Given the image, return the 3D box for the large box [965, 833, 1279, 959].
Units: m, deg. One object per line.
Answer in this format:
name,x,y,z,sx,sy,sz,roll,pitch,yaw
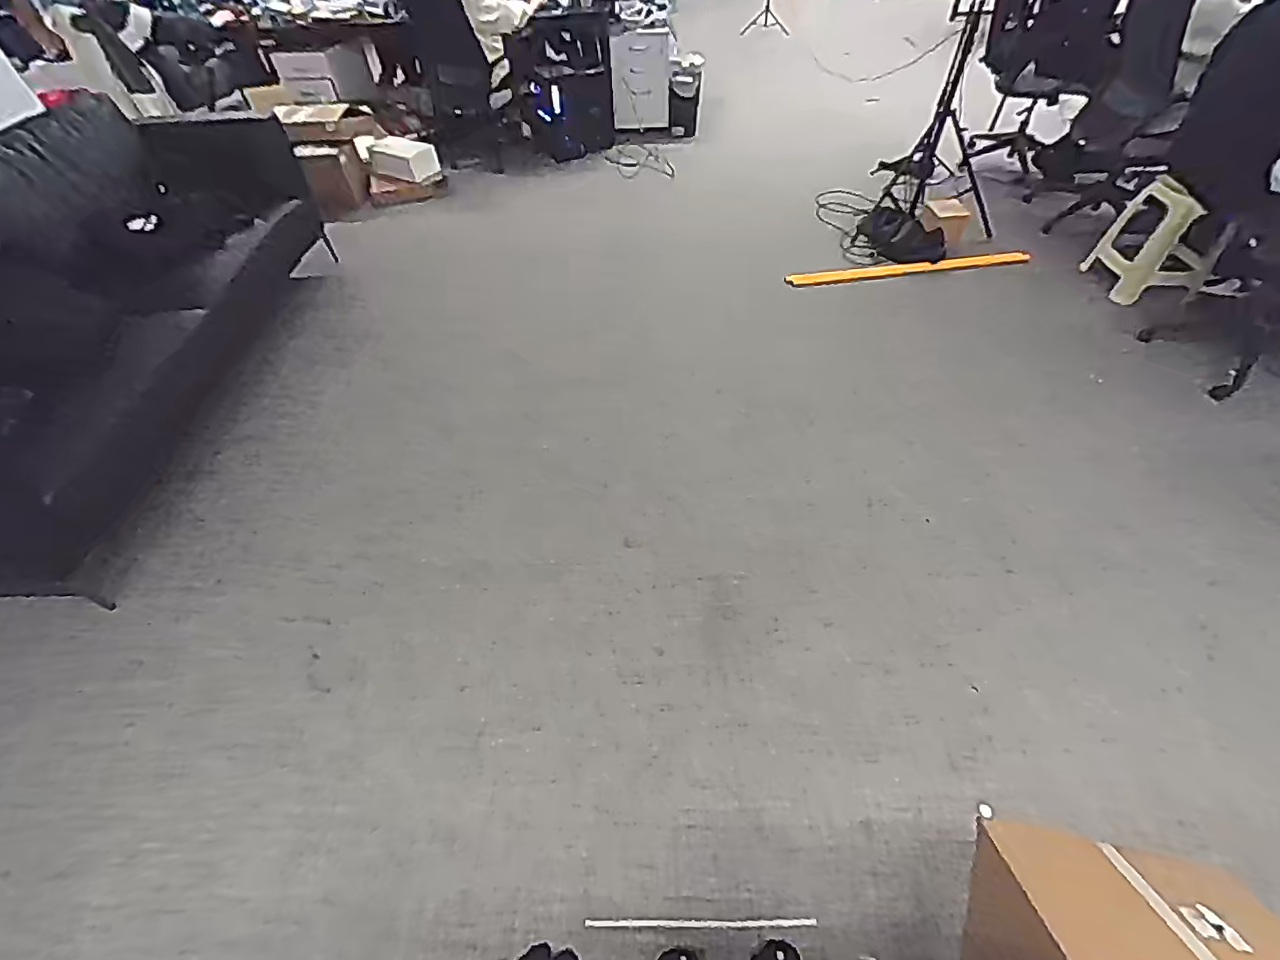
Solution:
large box,0.600,0.695,0.592,0.320,0.408,0.320,8,91,12
